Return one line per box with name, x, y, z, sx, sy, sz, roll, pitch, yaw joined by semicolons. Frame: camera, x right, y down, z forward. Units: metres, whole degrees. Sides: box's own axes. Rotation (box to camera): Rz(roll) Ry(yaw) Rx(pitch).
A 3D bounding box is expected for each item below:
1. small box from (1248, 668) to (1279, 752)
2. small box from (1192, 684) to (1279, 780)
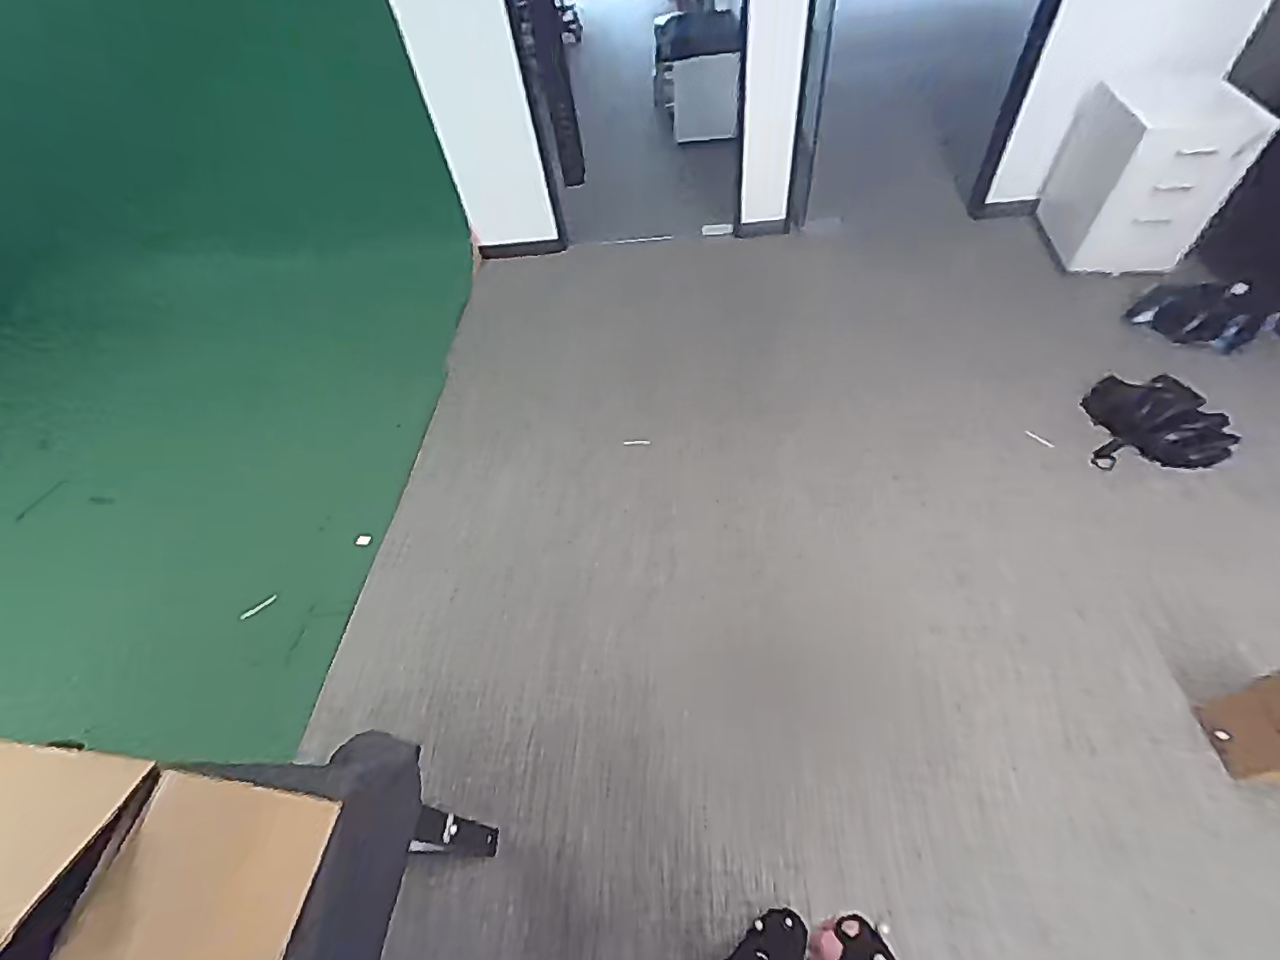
small box;1.405;0.469;1.085;0.179;0.176;0.168;0;54;5
small box;1.426;0.567;1.212;0.179;0.176;0.168;-3;53;6
